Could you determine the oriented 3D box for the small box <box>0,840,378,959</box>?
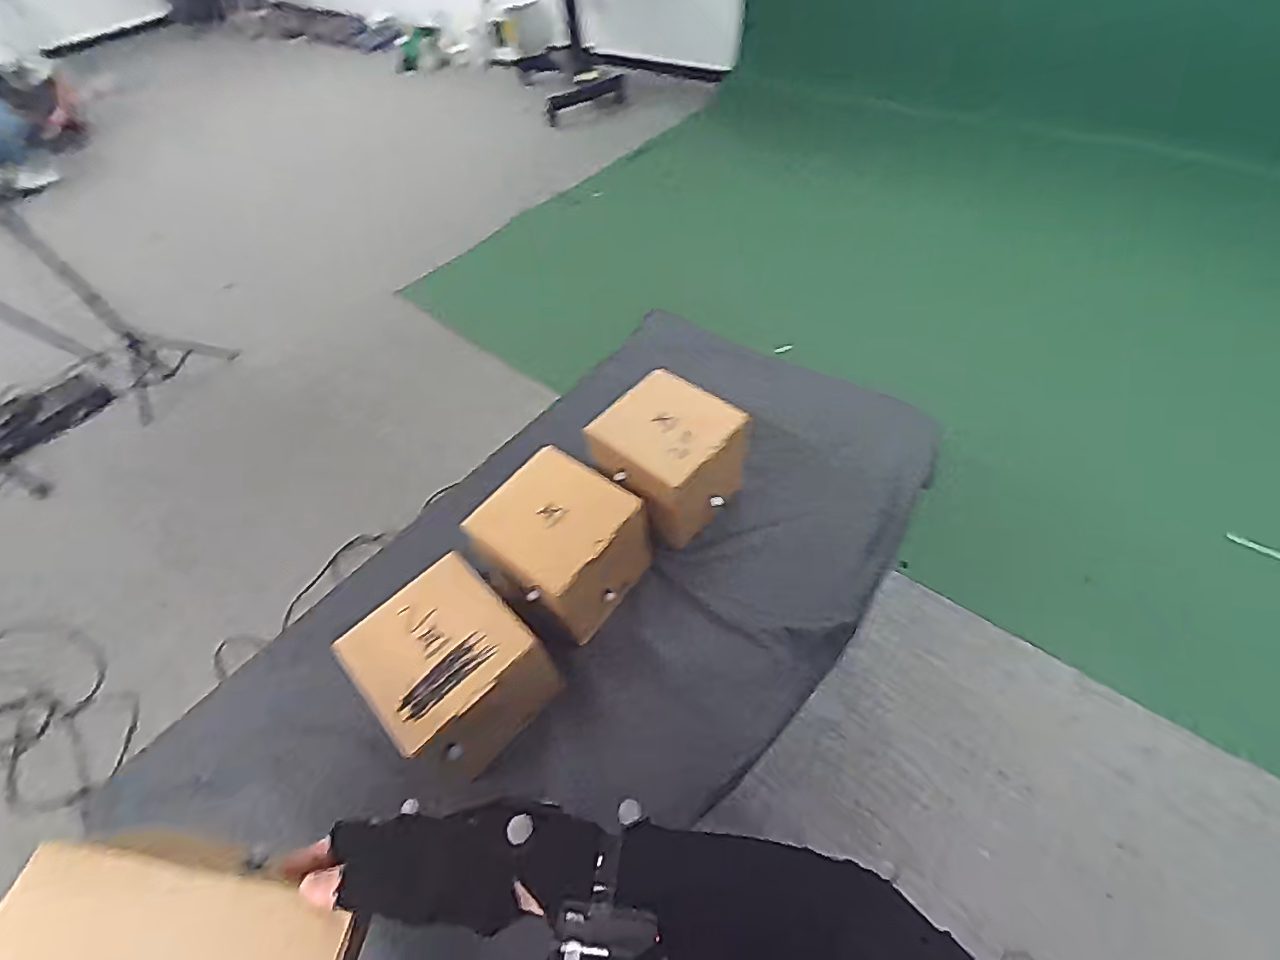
[{"bbox_3d":[-0.284,0.333,0.329,0.179,0.176,0.168,18,56,-8],"label":"small box"}]
